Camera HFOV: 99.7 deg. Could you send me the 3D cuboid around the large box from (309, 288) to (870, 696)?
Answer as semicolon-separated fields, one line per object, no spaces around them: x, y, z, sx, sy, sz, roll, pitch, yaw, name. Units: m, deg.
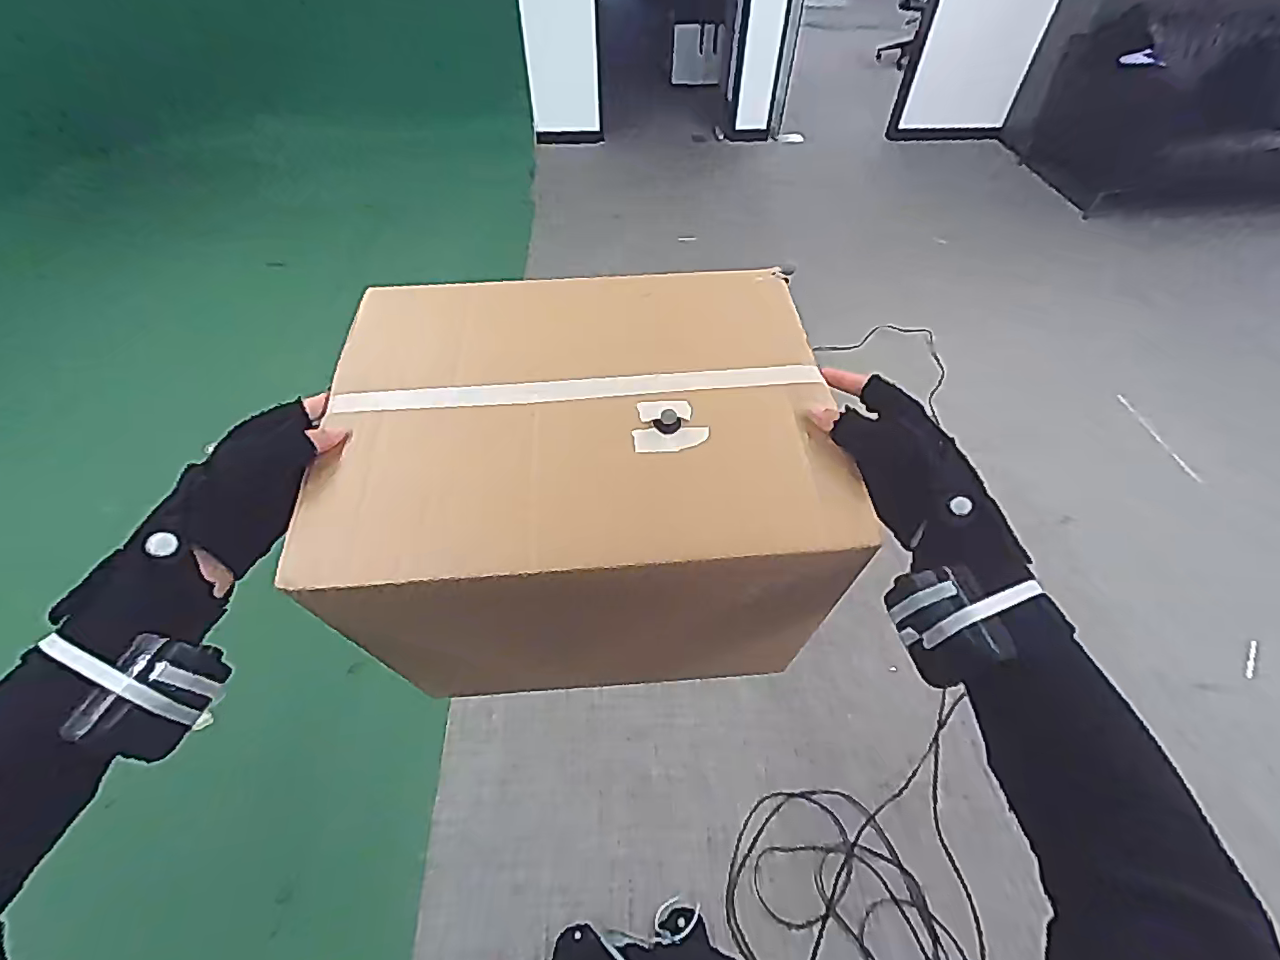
-0.045;0.022;0.583;0.408;0.320;0.320;-3;55;-3;large box
